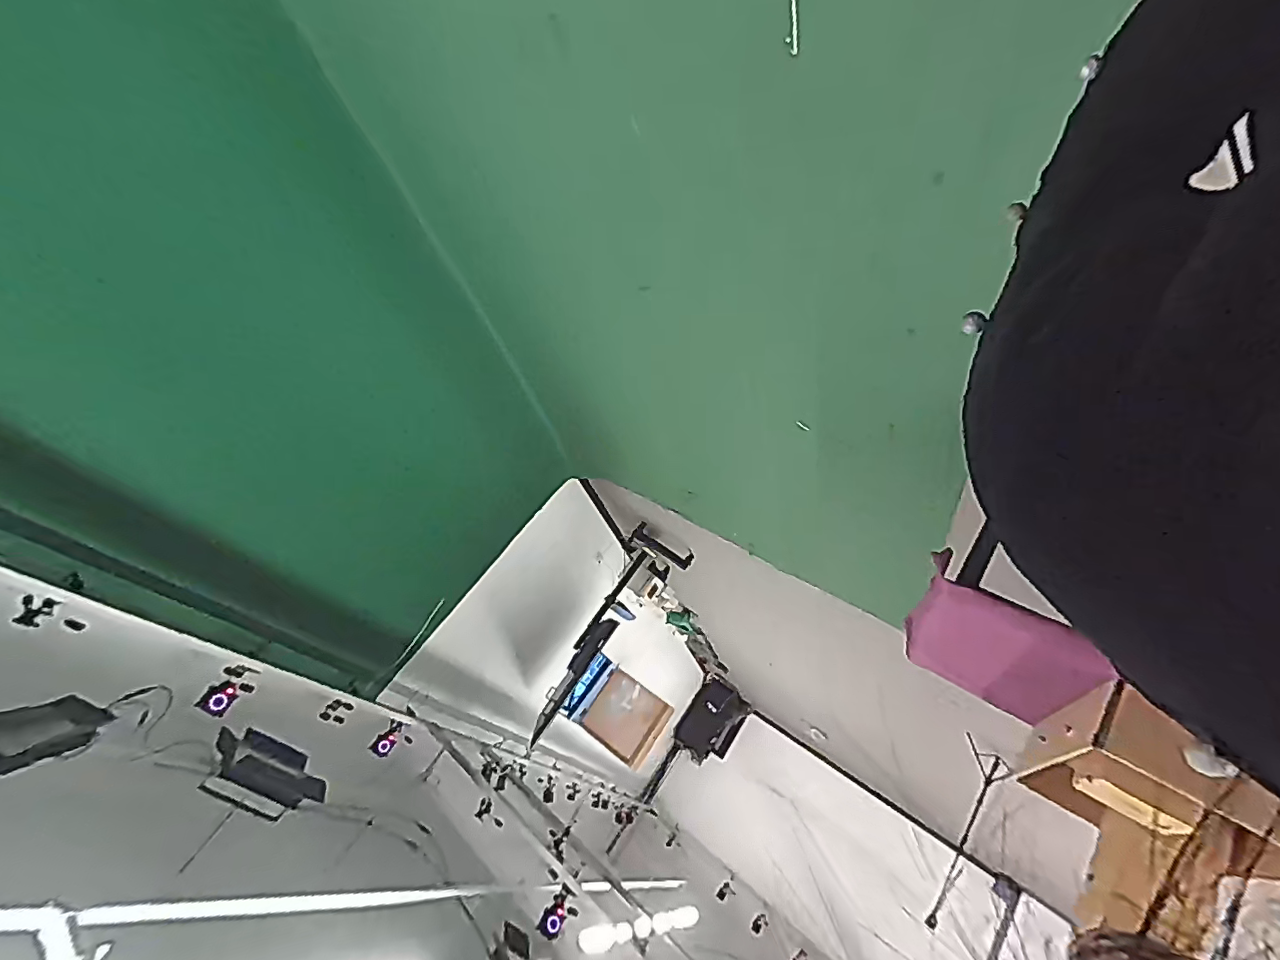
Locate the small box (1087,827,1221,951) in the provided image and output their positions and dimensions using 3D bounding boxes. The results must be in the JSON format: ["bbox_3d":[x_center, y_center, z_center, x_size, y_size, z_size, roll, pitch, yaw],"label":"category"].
[{"bbox_3d":[1.212,0.953,1.278,0.168,0.176,0.179,27,156,29],"label":"small box"}]
